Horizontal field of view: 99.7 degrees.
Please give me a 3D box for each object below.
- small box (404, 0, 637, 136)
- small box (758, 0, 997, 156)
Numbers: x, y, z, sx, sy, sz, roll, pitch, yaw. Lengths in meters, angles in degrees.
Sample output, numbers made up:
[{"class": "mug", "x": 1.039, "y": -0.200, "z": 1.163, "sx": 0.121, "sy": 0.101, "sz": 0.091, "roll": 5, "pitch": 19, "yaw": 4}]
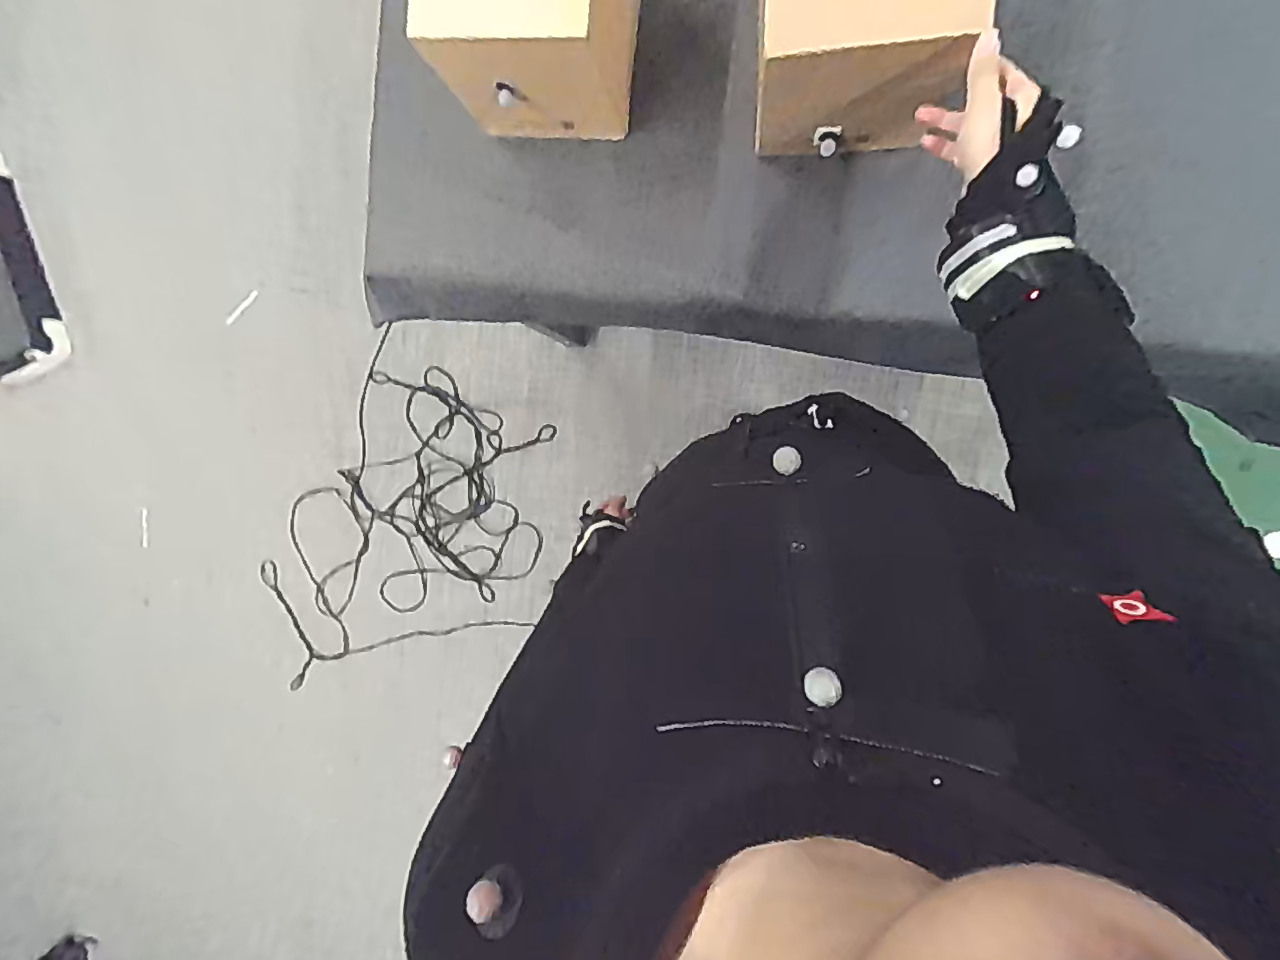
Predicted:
[{"class": "small box", "x": -0.101, "y": -0.464, "z": 0.523, "sx": 0.168, "sy": 0.176, "sz": 0.179, "roll": 7, "pitch": 95, "yaw": 9}, {"class": "small box", "x": 0.192, "y": -0.423, "z": 0.476, "sx": 0.168, "sy": 0.176, "sz": 0.179, "roll": 1, "pitch": 95, "yaw": 11}]
